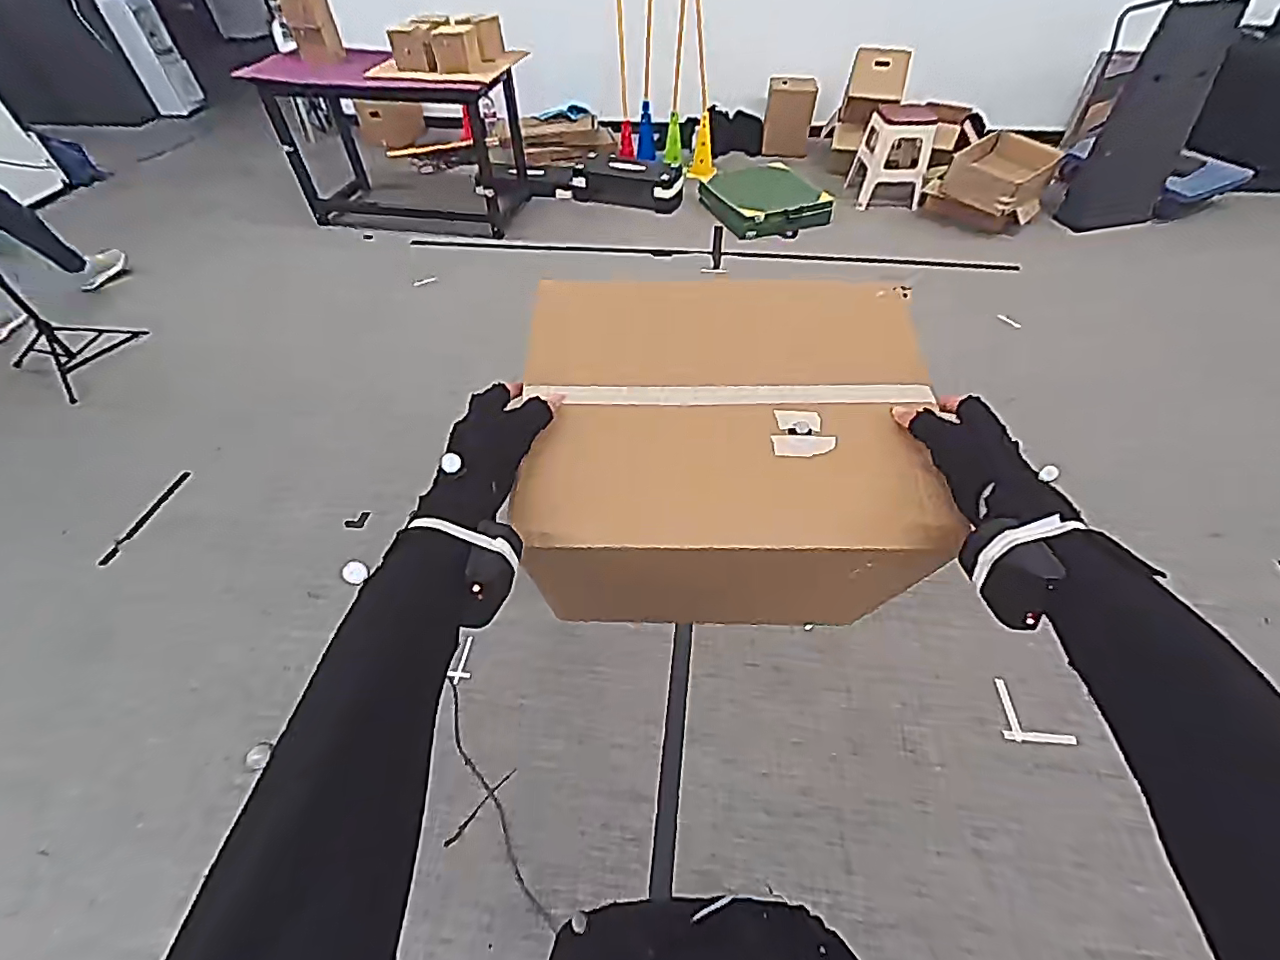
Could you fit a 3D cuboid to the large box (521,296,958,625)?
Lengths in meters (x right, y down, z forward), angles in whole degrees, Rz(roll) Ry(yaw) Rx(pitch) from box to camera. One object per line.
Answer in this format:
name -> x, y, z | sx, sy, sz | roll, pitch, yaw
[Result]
large box -> 0.088, -0.006, 0.683 | 0.408, 0.320, 0.320 | 0, 63, 1
